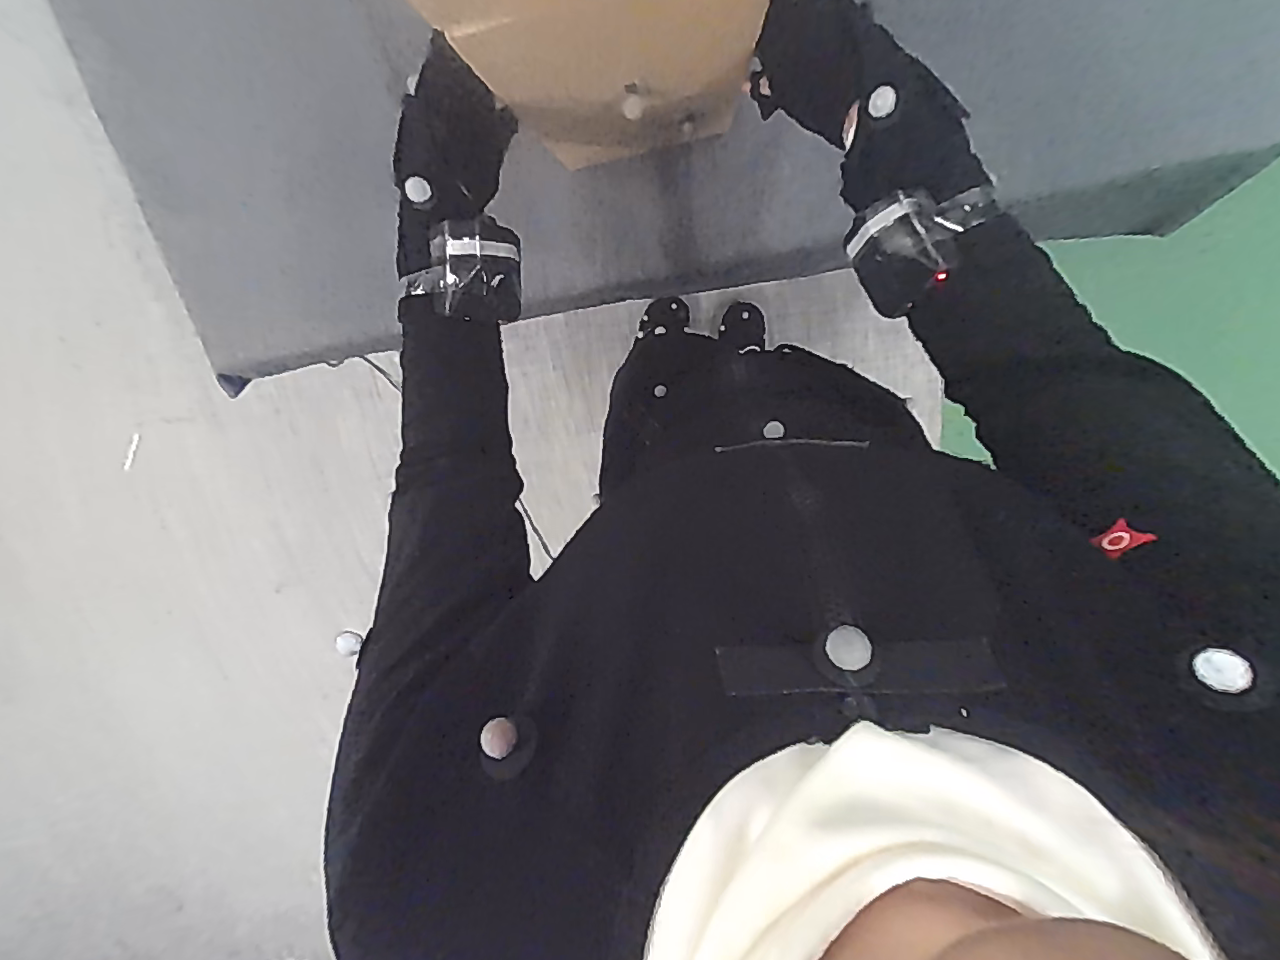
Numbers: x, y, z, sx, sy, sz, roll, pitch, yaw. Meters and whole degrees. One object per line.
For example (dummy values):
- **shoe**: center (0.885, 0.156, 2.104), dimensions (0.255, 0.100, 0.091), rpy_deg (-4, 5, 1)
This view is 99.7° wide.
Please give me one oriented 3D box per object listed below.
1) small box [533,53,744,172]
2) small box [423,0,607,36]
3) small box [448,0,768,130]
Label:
- **small box**: center (-0.013, -0.400, 0.484), dimensions (0.179, 0.176, 0.168), rpy_deg (-10, 107, 9)
- **small box**: center (-0.034, -0.293, 0.174), dimensions (0.179, 0.176, 0.168), rpy_deg (-11, 108, 6)
- **small box**: center (-0.024, -0.344, 0.329), dimensions (0.179, 0.176, 0.168), rpy_deg (-9, 106, 6)
